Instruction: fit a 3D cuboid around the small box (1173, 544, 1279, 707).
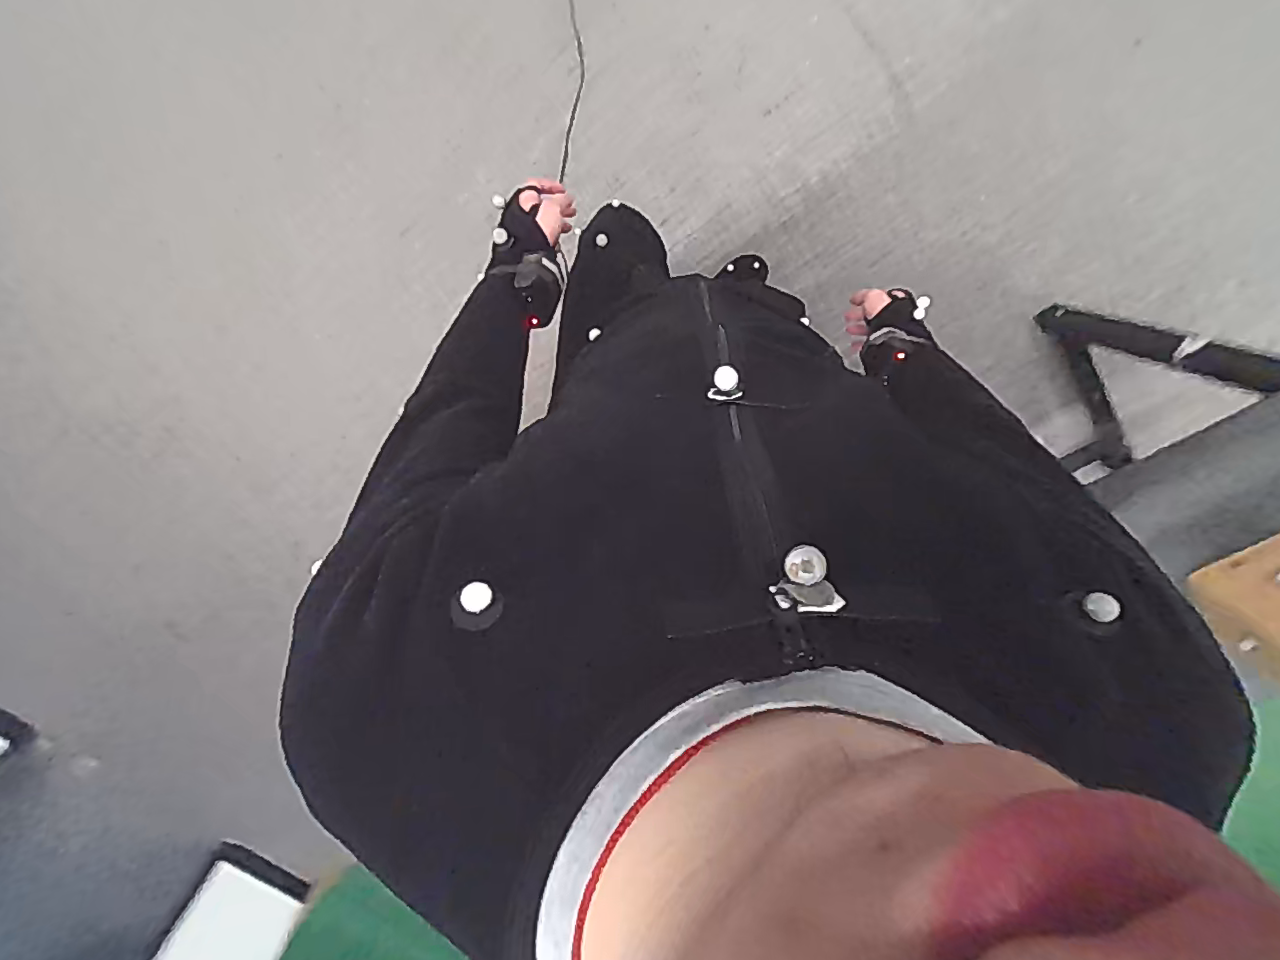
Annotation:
[{"bbox_3d":[1.024,0.226,0.867,0.168,0.176,0.179,-34,111,17],"label":"small box"}]
